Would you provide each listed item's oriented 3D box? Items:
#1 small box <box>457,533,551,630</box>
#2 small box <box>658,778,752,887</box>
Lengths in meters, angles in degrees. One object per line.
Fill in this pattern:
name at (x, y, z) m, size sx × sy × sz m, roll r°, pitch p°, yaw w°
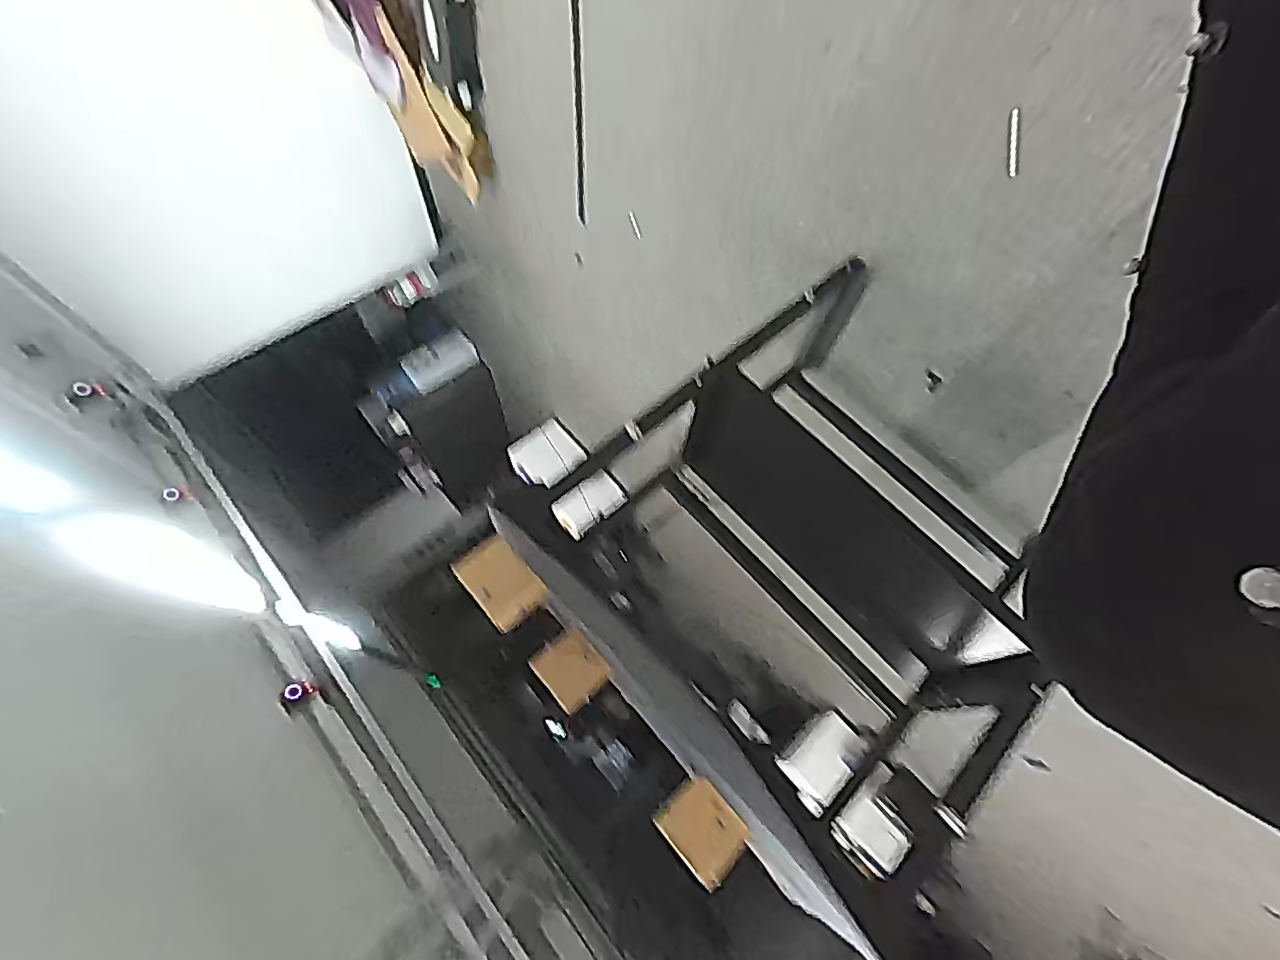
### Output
small box at (-0.351, 0.271, 1.435) m, size 0.168 × 0.176 × 0.179 m, roll 45°, pitch 160°, yaw 15°
small box at (0.168, 0.909, 1.415) m, size 0.168 × 0.176 × 0.179 m, roll 45°, pitch 158°, yaw 18°
